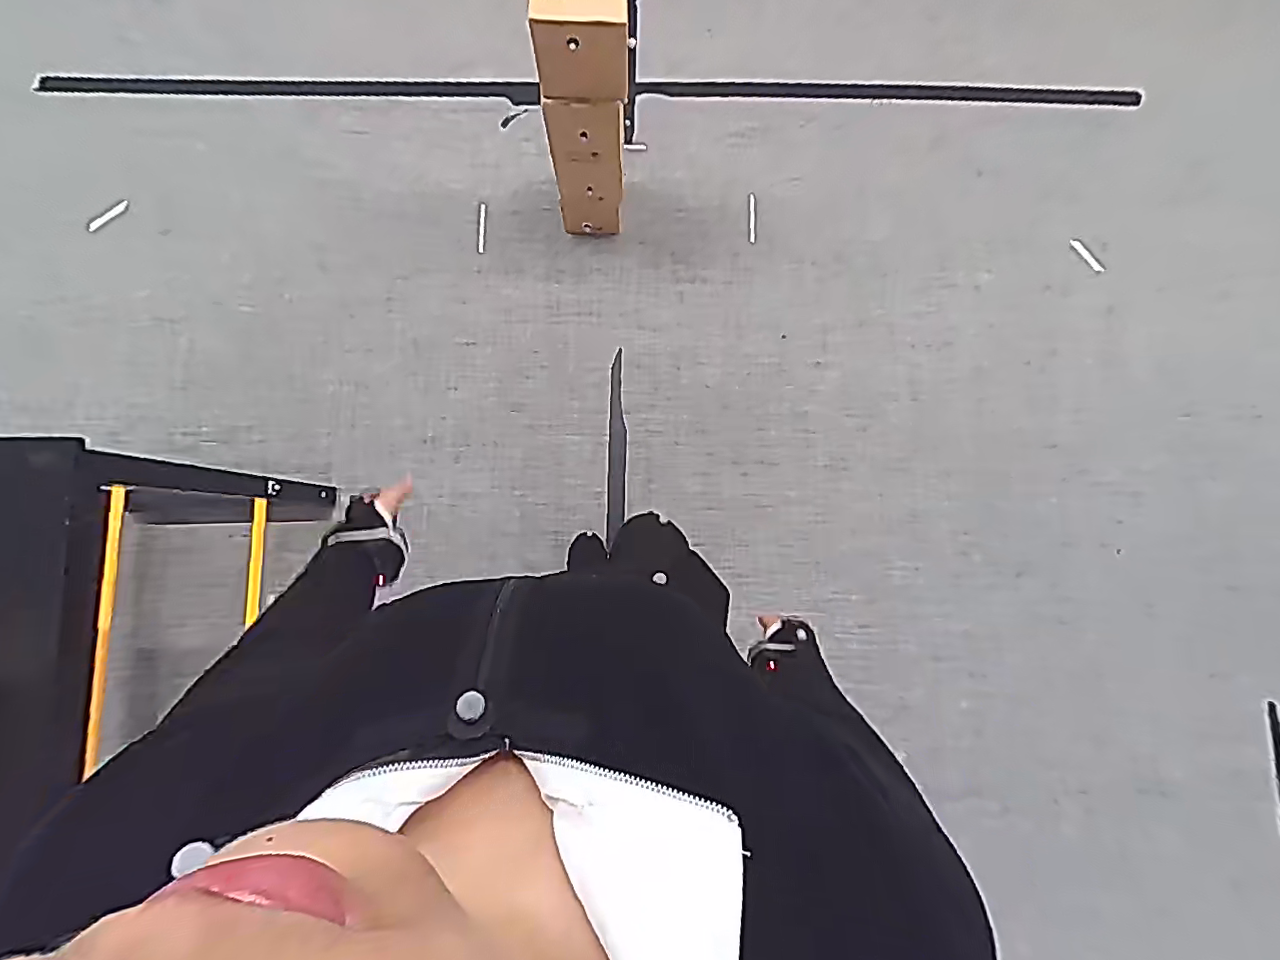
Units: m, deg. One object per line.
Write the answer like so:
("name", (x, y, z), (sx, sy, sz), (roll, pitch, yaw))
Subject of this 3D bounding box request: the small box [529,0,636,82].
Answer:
("small box", (-0.096, -0.840, 0.949), (0.179, 0.176, 0.168), (0, 84, -2))

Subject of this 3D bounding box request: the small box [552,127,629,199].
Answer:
("small box", (-0.112, -0.799, 1.276), (0.168, 0.176, 0.179), (1, 84, 0))

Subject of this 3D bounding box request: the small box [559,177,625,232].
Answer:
("small box", (-0.124, -0.792, 1.440), (0.168, 0.176, 0.179), (0, 86, -1))

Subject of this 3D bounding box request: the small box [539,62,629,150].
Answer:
("small box", (-0.108, -0.813, 1.113), (0.168, 0.176, 0.179), (1, 85, -1))
